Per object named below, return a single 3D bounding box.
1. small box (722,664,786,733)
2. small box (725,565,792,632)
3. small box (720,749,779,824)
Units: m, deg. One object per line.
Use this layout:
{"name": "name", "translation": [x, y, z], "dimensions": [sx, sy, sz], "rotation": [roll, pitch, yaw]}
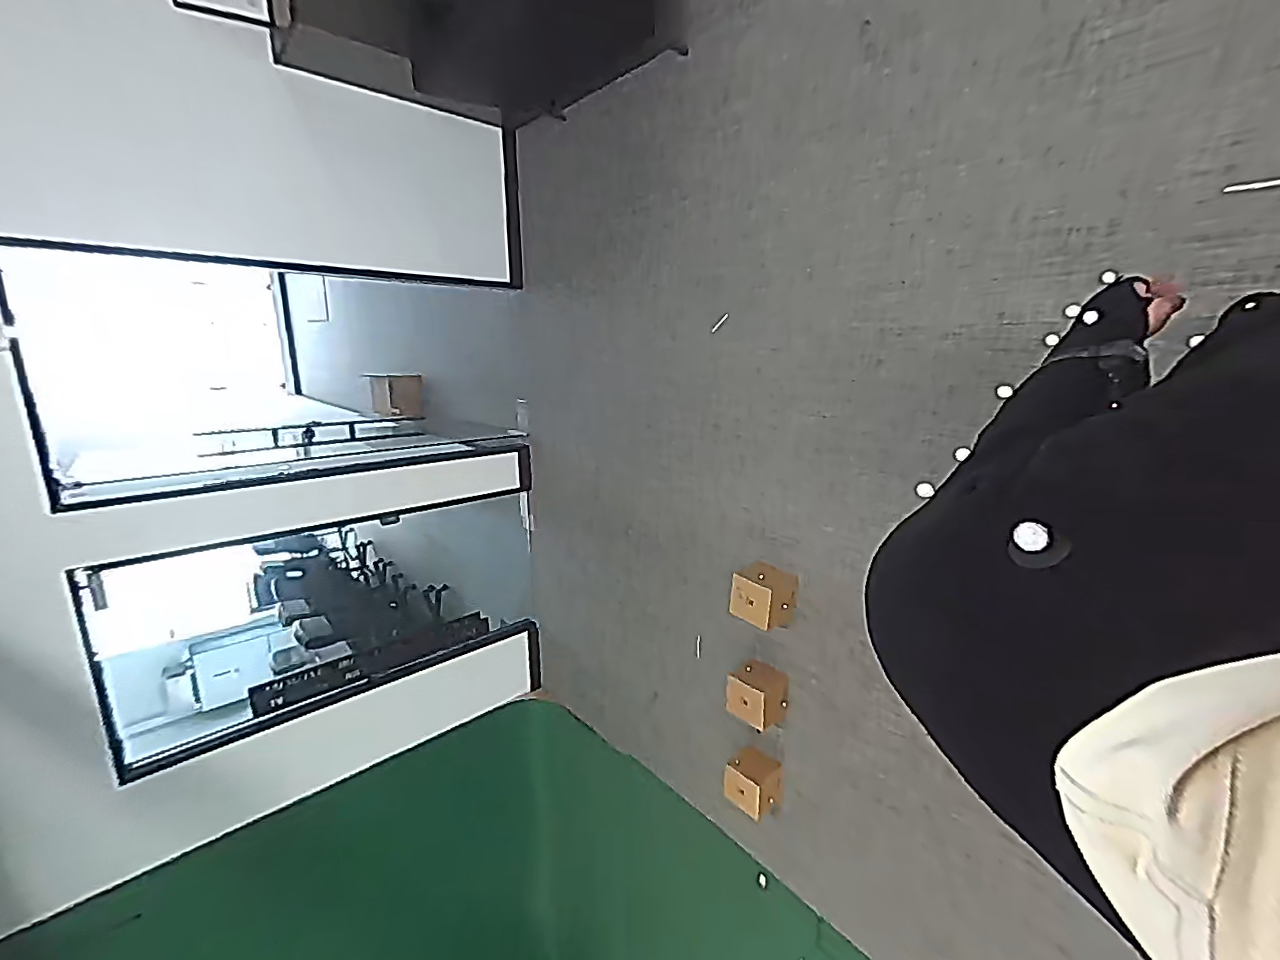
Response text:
{"name": "small box", "translation": [0.443, 0.840, 2.104], "dimensions": [0.179, 0.176, 0.168], "rotation": [14, 109, 46]}
{"name": "small box", "translation": [0.444, 0.432, 2.008], "dimensions": [0.179, 0.176, 0.168], "rotation": [20, 112, 45]}
{"name": "small box", "translation": [0.445, 1.231, 2.190], "dimensions": [0.179, 0.176, 0.168], "rotation": [14, 109, 48]}
